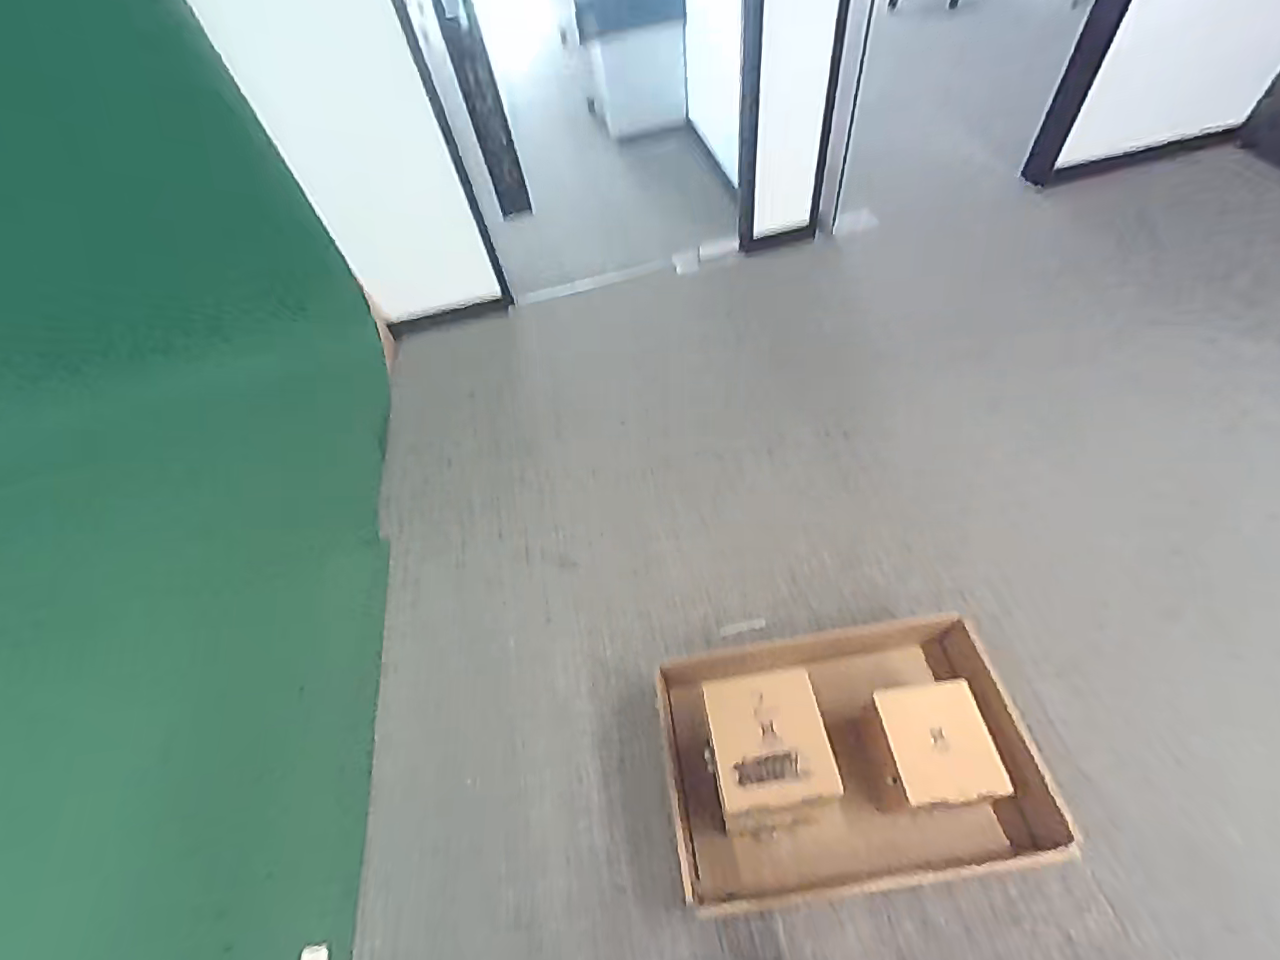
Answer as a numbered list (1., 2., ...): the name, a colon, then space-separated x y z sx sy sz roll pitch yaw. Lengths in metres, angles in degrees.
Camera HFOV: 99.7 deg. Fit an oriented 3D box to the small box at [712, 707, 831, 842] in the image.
1. small box: 0.225 0.532 0.973 0.168 0.176 0.179 -10 52 2
